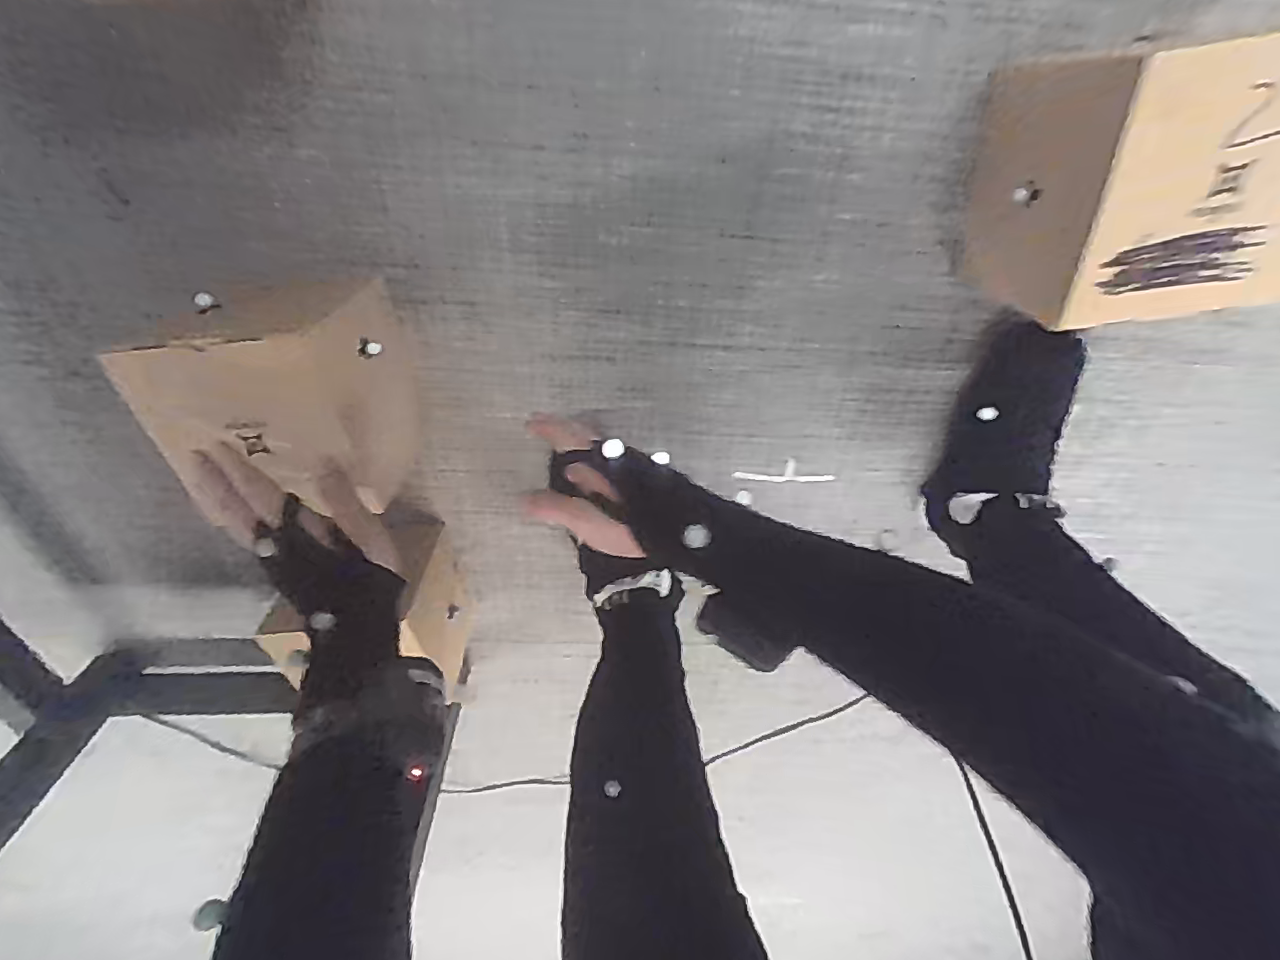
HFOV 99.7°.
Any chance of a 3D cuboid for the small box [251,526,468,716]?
[{"bbox_3d":[-0.332,0.173,0.692,0.179,0.176,0.168,-6,125,2],"label":"small box"}]
